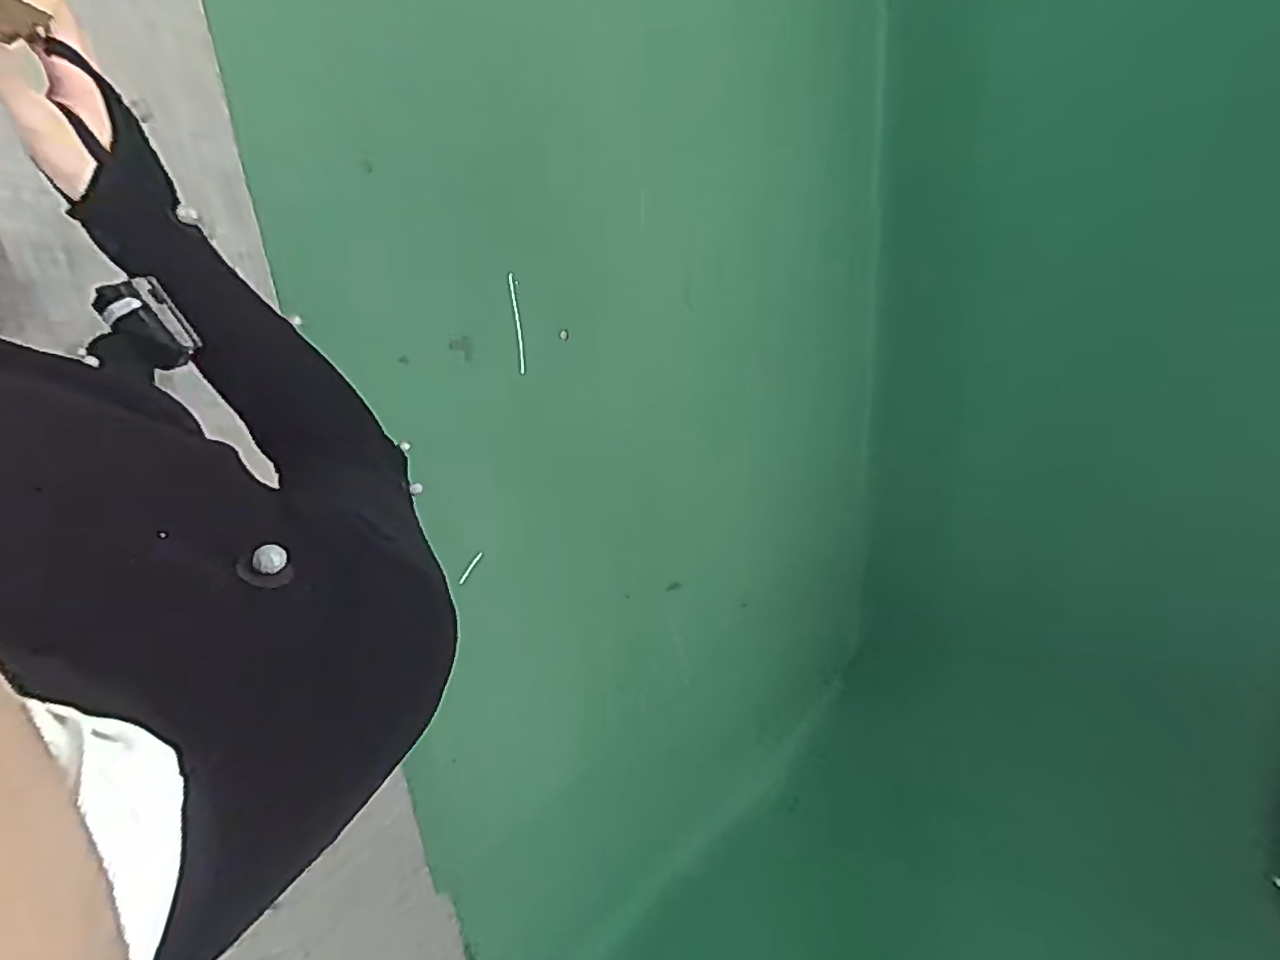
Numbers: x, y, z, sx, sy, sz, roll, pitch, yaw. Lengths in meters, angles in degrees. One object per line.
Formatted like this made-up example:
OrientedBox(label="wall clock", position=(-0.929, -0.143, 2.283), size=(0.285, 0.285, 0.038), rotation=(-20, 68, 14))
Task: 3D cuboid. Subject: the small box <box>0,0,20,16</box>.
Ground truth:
OrientedBox(label="small box", position=(-0.430, -0.380, 0.270), size=(0.179, 0.176, 0.168), rotation=(3, 107, -56))
